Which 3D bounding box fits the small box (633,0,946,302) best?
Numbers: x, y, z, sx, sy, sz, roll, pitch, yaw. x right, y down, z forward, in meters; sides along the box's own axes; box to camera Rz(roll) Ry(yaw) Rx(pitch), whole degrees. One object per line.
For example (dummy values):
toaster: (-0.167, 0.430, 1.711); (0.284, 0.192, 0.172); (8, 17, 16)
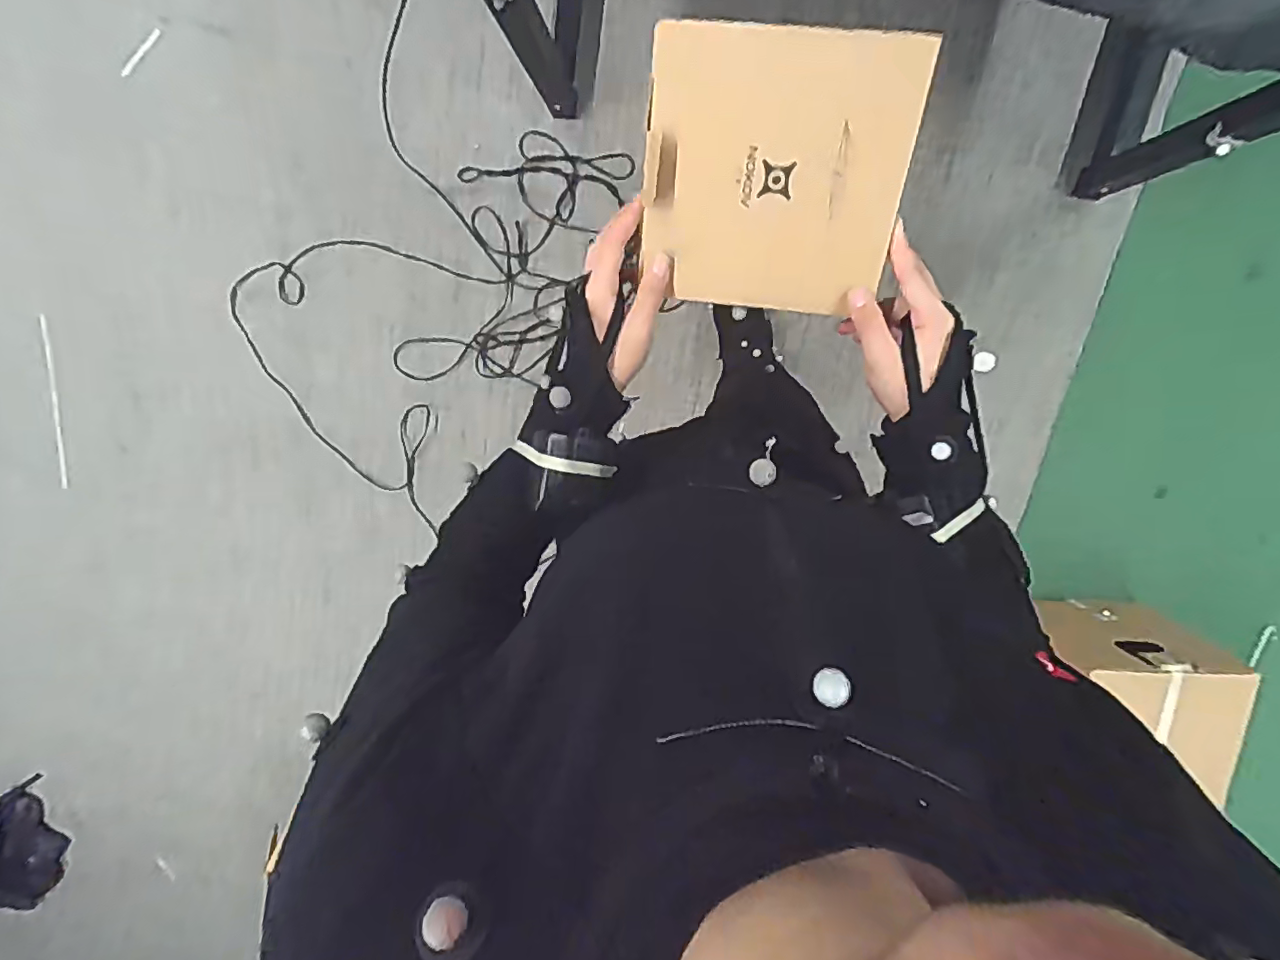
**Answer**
small box: (0.096, -0.241, 0.424); (0.179, 0.176, 0.168); (6, 115, 4)
